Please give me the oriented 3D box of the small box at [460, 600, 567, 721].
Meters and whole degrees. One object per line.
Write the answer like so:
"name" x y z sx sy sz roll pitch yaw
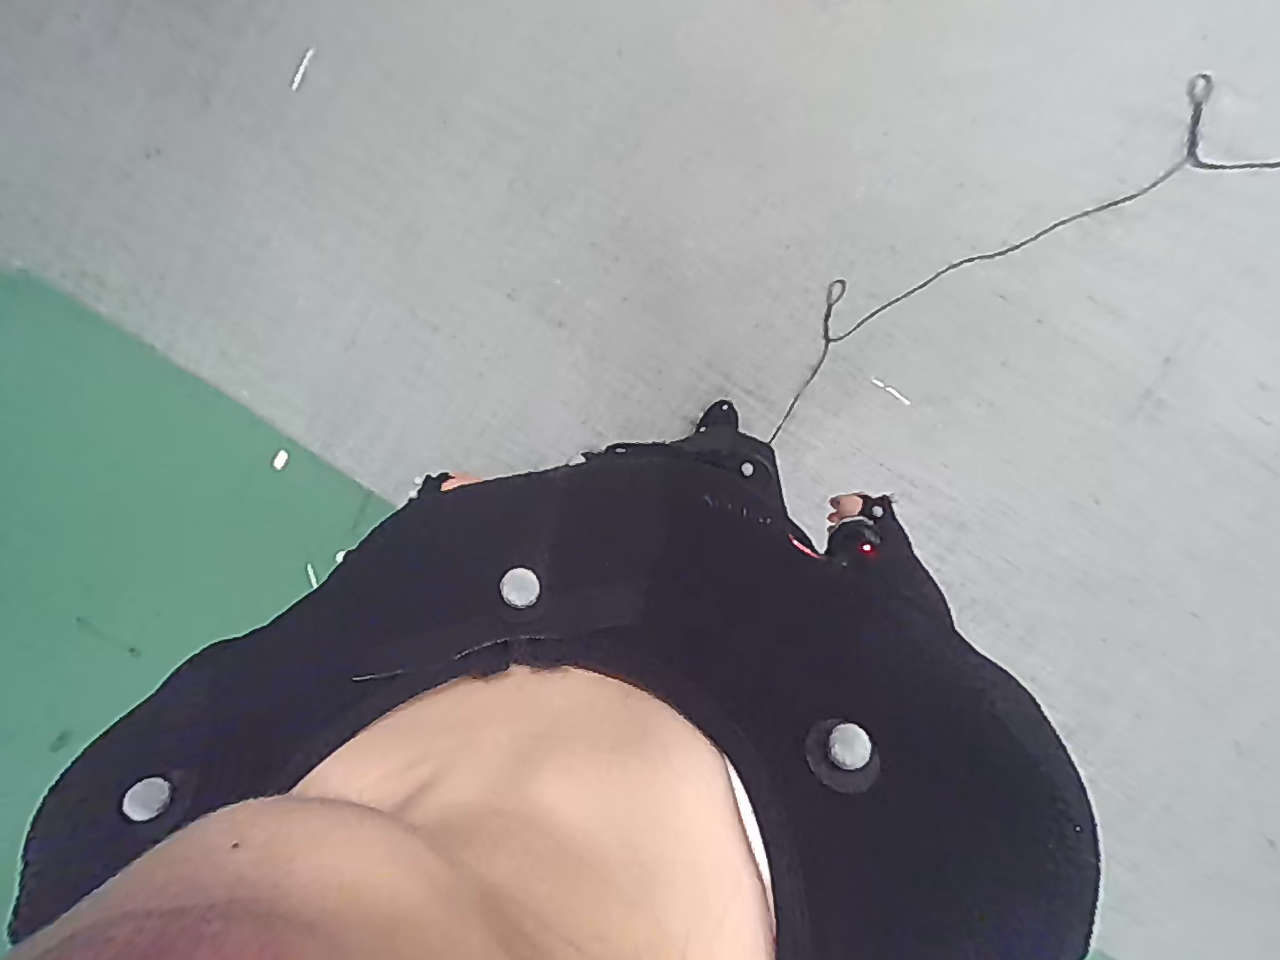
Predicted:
"small box" -0.282 0.409 1.251 0.168 0.176 0.179 28 95 -2

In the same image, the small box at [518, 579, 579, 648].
"small box" -0.276 0.391 1.414 0.168 0.176 0.179 38 97 -2
